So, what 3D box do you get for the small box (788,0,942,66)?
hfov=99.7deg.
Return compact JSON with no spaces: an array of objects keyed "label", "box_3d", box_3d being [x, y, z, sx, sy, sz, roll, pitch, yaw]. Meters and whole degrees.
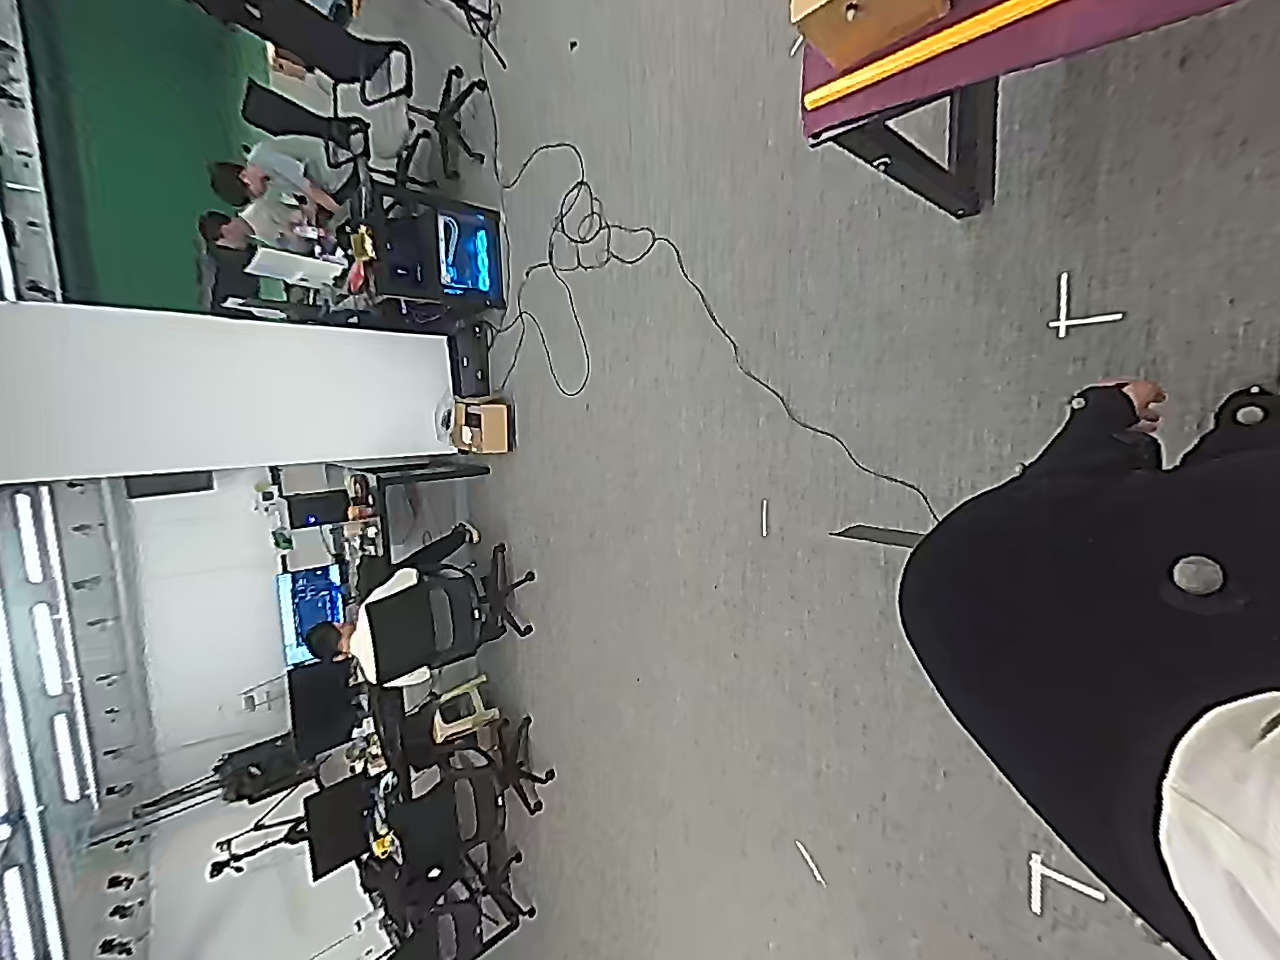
[{"label":"small box","box_3d":[0.338,-0.767,0.798,0.179,0.176,0.168,4,99,47]}]
